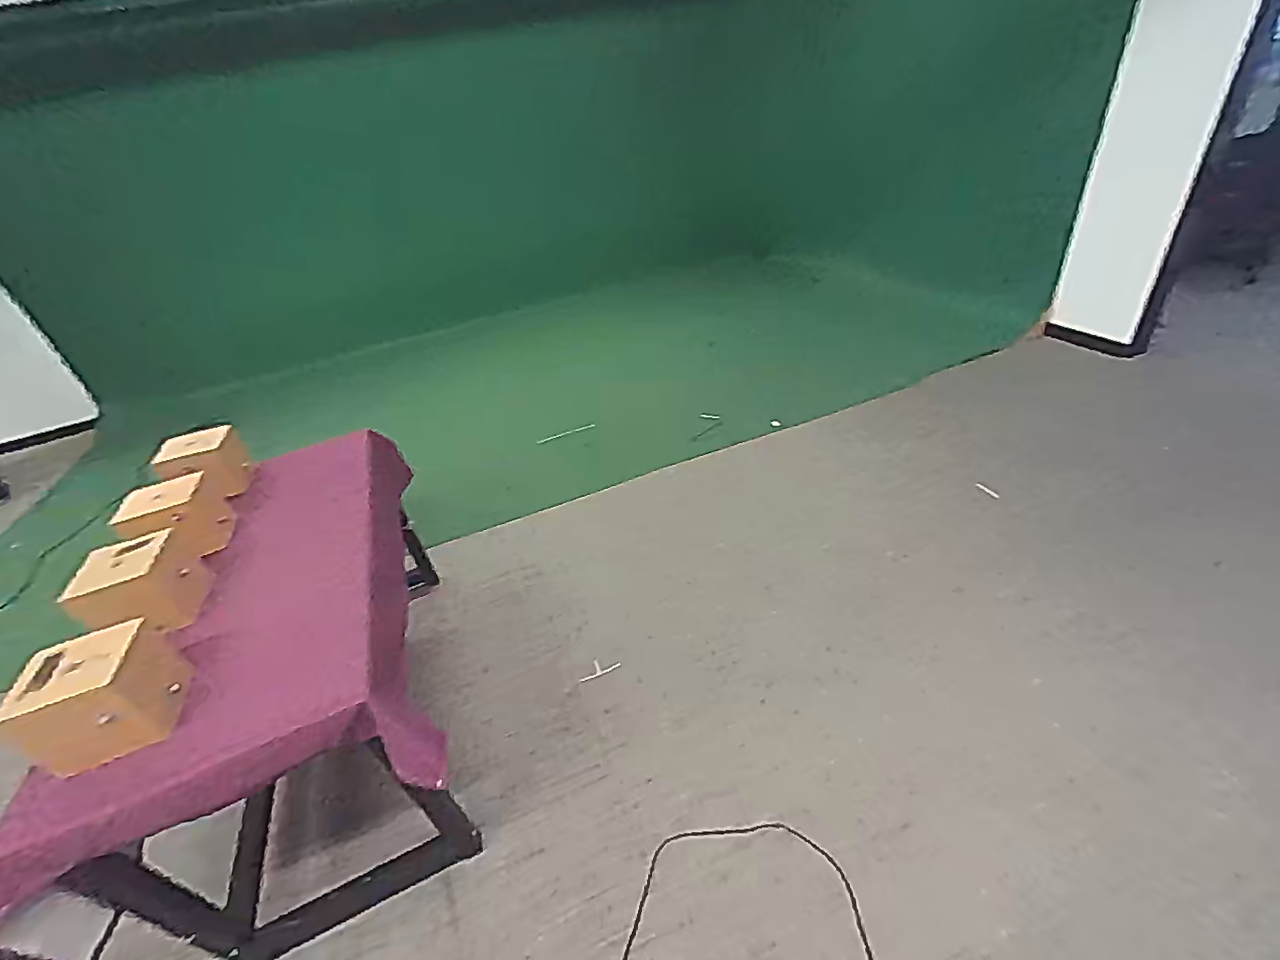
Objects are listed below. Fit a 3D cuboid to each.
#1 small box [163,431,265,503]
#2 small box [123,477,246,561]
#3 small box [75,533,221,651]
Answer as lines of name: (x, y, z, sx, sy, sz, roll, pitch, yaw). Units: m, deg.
small box: (-1.330, -0.026, 1.701, 0.179, 0.176, 0.168, -17, 36, -13)
small box: (-1.229, 0.123, 1.474, 0.179, 0.176, 0.168, -20, 36, -14)
small box: (-1.119, 0.257, 1.252, 0.168, 0.176, 0.179, -20, 37, -12)
